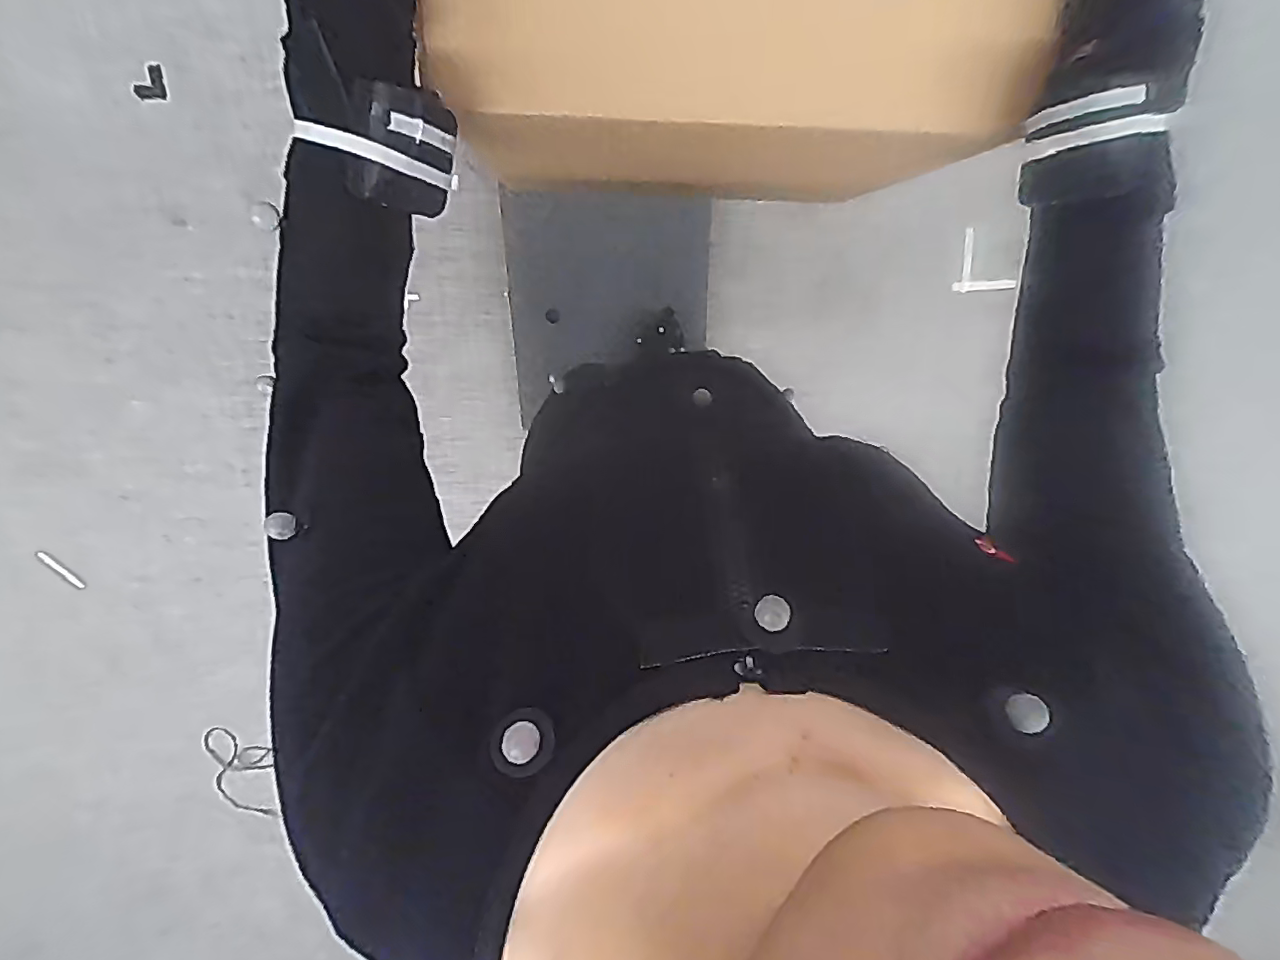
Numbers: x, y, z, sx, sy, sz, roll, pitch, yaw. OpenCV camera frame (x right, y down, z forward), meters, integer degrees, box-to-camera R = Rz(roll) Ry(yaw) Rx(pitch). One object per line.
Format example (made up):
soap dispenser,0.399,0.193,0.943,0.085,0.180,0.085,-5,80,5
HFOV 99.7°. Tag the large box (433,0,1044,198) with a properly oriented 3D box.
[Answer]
large box,0.057,-0.436,0.458,0.408,0.320,0.320,-1,109,-4
